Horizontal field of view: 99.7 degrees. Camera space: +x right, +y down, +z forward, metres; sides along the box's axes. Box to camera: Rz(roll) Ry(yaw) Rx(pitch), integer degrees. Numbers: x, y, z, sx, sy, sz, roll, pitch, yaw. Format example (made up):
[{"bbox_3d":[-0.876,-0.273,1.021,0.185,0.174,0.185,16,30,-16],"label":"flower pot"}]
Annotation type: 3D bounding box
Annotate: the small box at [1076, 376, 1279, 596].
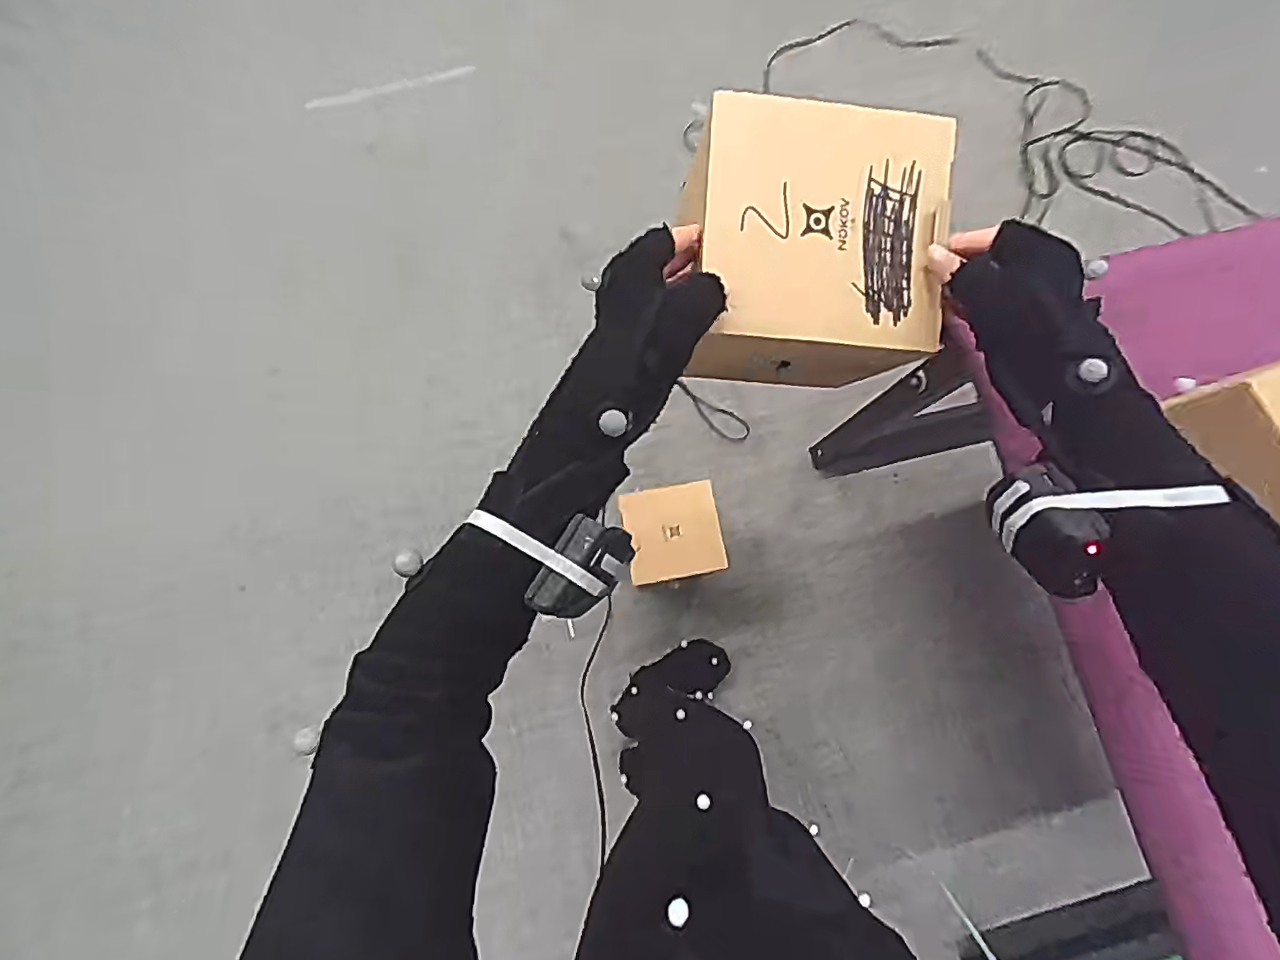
[{"bbox_3d":[0.583,0.003,0.514,0.168,0.176,0.179,-19,80,-6],"label":"small box"}]
